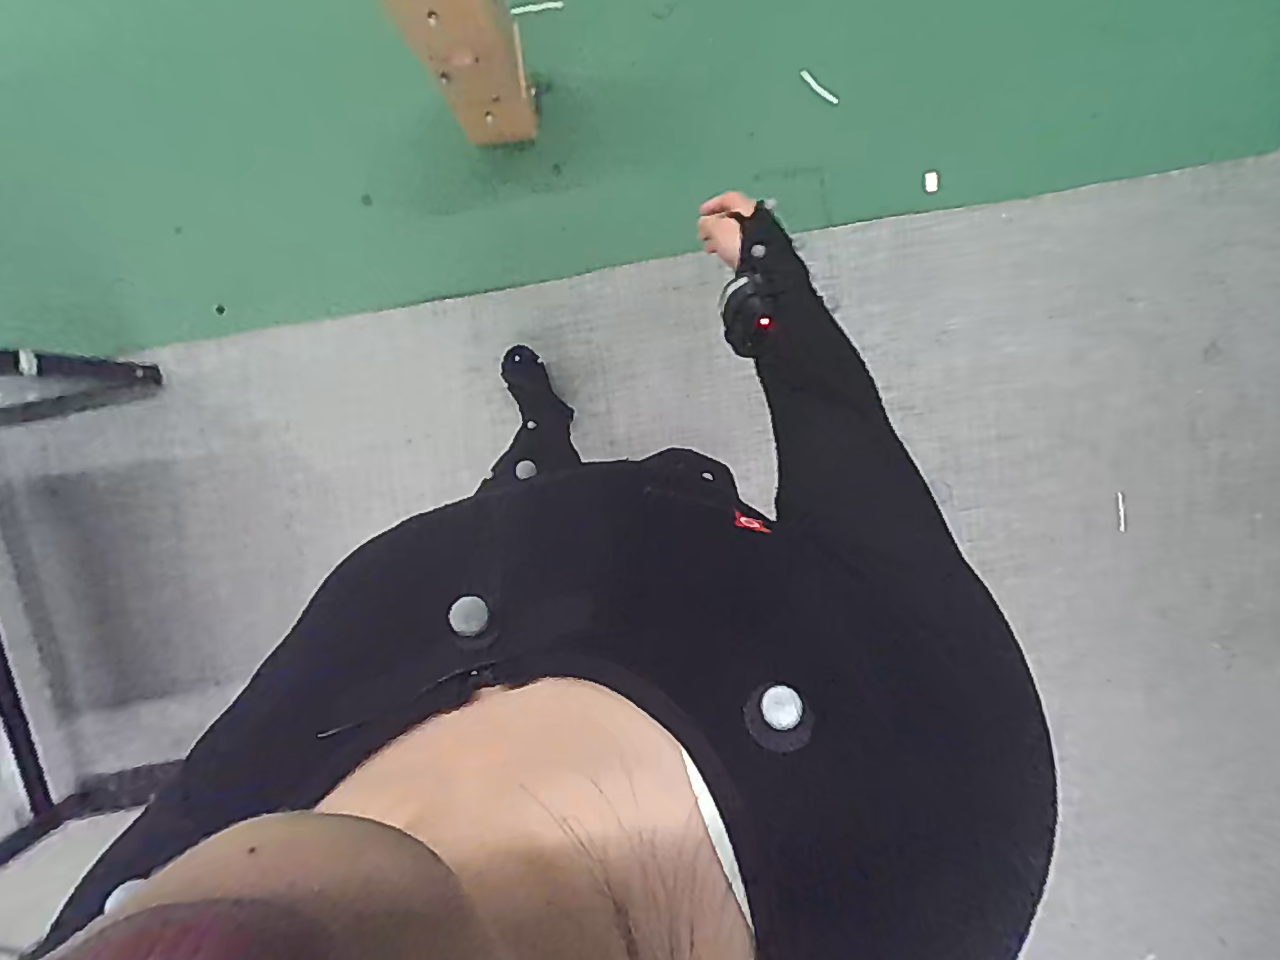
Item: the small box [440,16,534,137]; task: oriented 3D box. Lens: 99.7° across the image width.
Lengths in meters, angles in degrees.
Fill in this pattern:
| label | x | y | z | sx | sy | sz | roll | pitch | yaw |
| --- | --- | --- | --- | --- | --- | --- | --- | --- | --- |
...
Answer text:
| label | x | y | z | sx | sy | sz | roll | pitch | yaw |
| --- | --- | --- | --- | --- | --- | --- | --- | --- | --- |
| small box | -0.353 | -0.942 | 1.276 | 0.179 | 0.176 | 0.168 | -6 | 97 | 0 |
